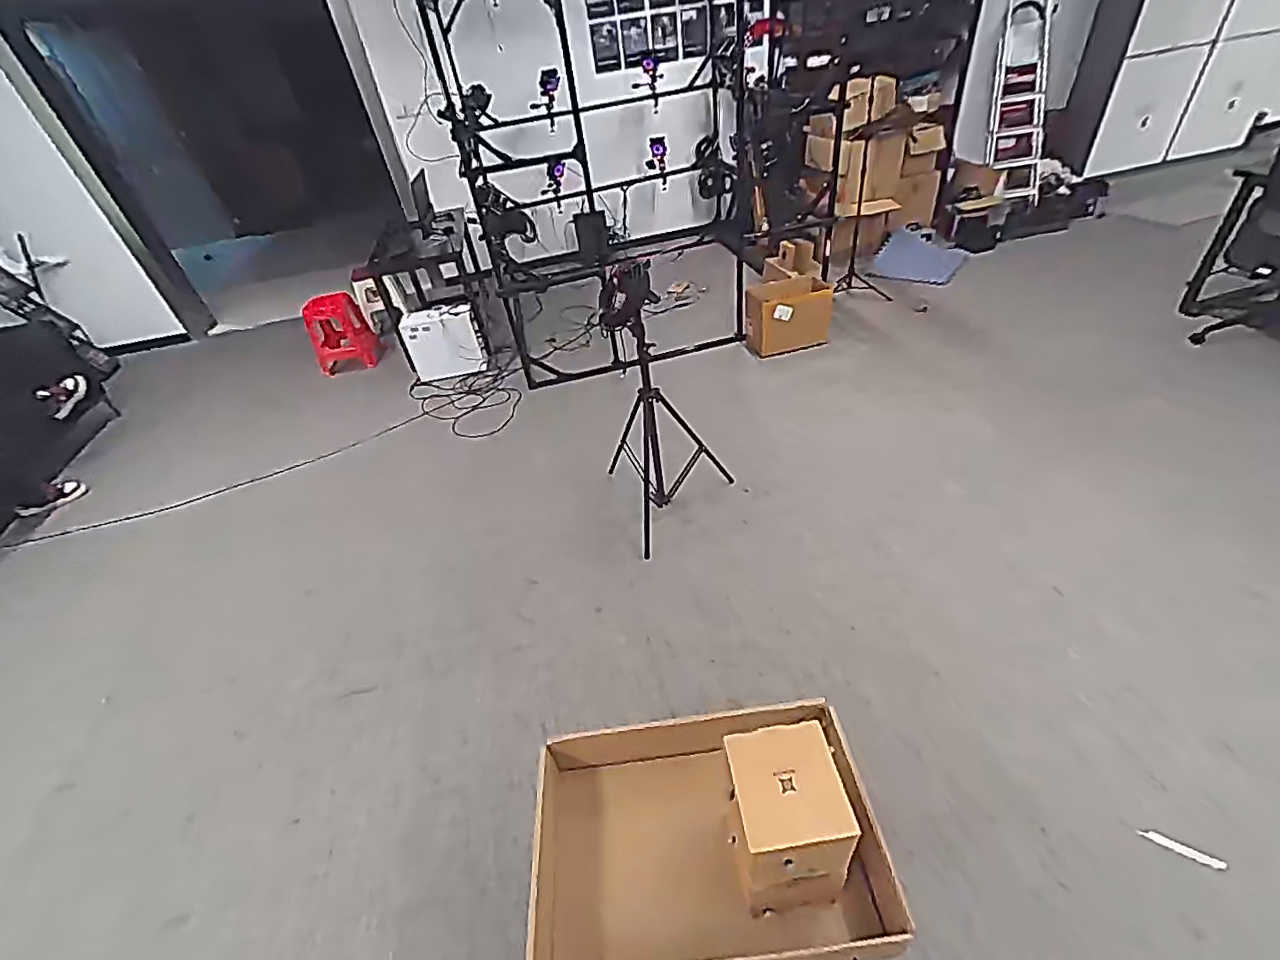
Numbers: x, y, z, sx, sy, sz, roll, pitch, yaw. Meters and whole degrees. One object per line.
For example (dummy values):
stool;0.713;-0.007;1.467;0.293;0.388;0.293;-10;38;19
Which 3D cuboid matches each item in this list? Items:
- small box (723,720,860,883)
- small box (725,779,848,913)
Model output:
small box;0.237;0.527;0.880;0.168;0.176;0.179;-10;38;-1
small box;0.258;0.653;0.981;0.168;0.176;0.179;-10;38;-1
